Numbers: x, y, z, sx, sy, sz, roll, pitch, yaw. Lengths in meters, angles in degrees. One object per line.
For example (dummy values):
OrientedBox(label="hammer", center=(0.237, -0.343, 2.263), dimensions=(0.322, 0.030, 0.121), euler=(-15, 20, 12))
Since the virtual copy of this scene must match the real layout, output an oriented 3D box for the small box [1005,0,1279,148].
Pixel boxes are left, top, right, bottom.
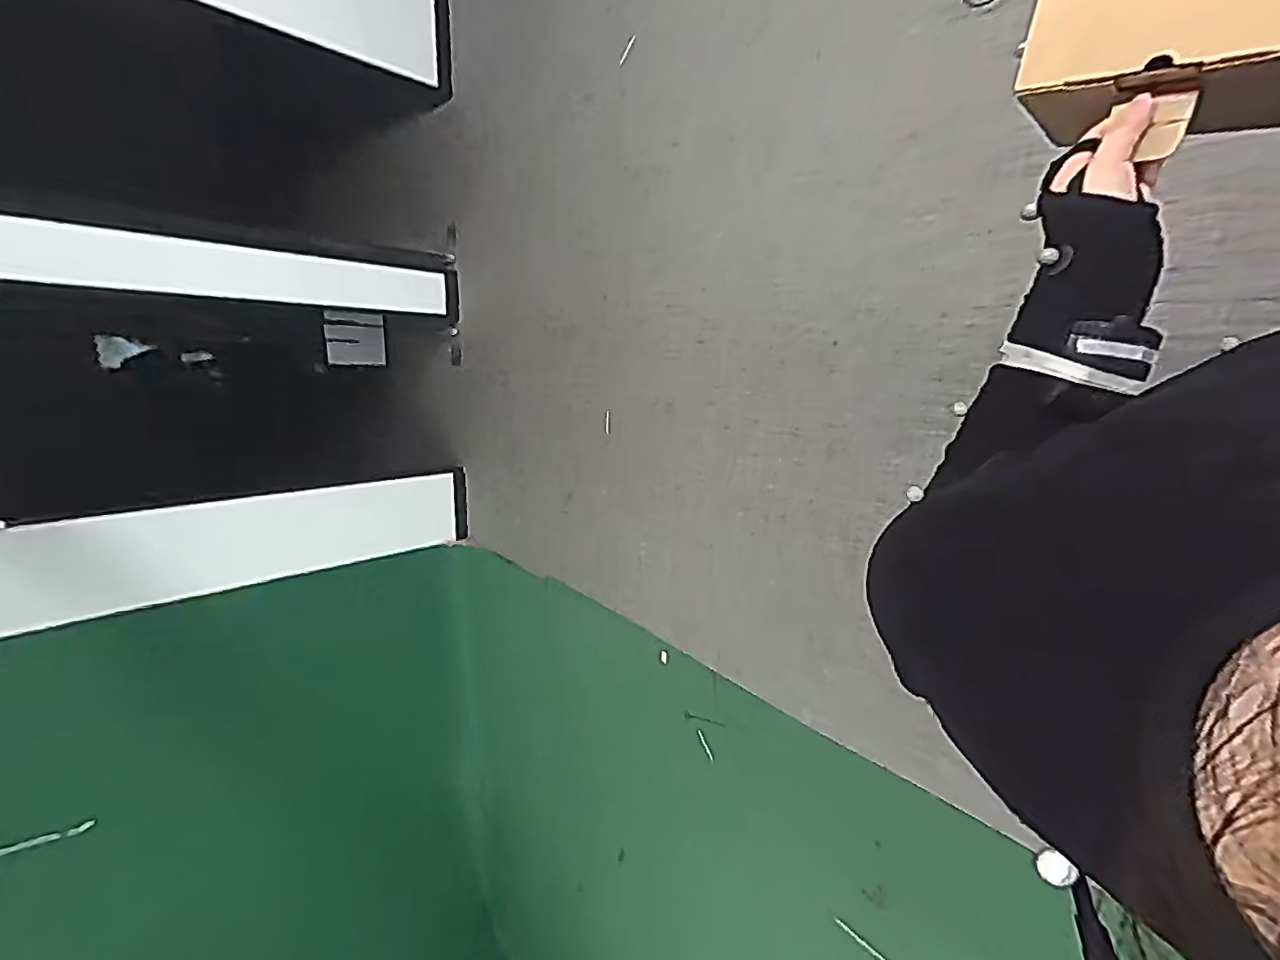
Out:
OrientedBox(label="small box", center=(0.403, -0.368, 0.397), dimensions=(0.168, 0.176, 0.179), euler=(22, 117, 40))
